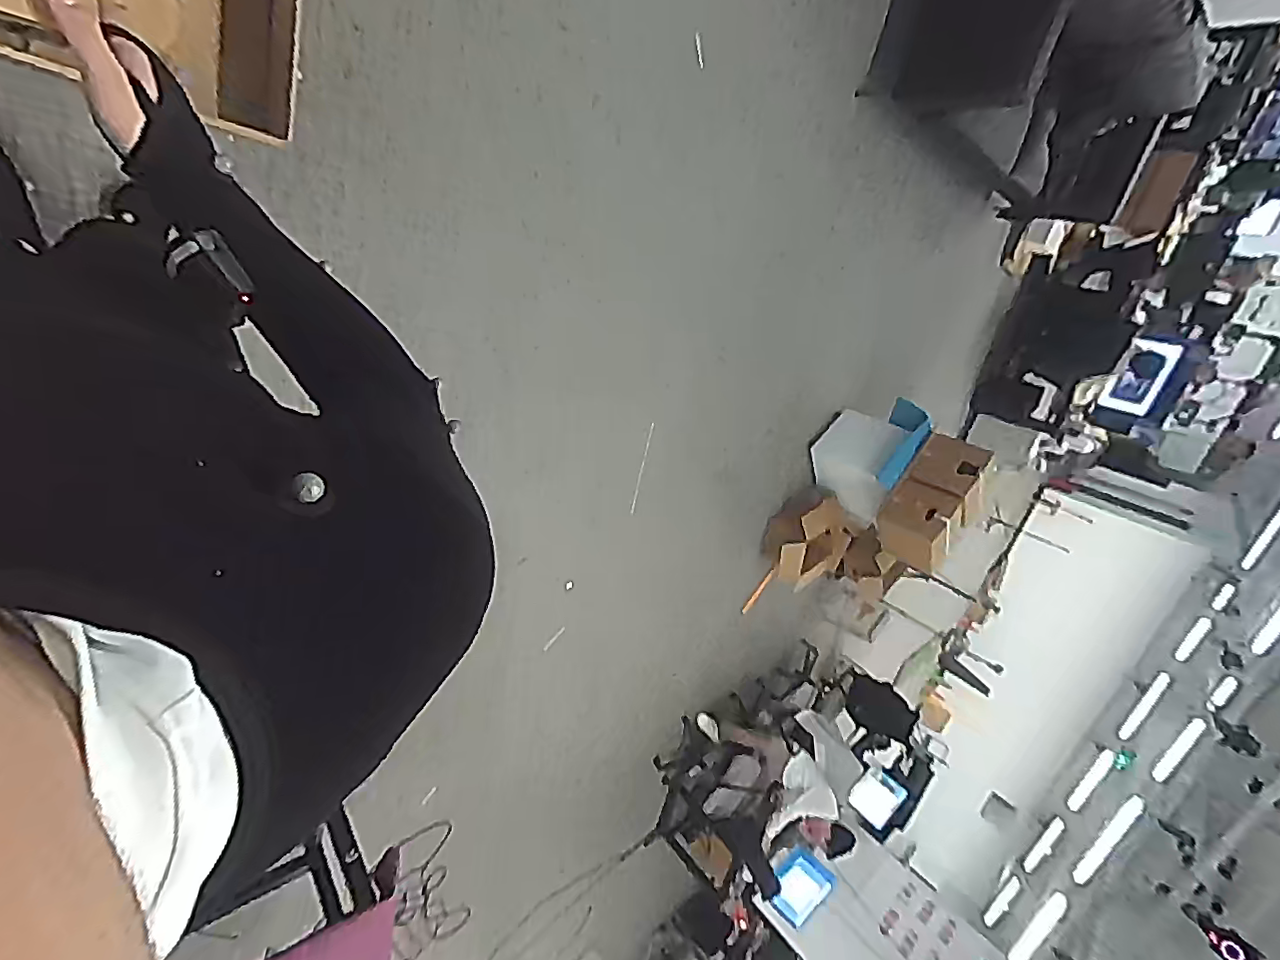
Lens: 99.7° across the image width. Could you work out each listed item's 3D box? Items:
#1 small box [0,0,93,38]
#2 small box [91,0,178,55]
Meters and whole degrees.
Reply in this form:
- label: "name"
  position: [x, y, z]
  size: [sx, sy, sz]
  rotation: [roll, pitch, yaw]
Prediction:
- label: "small box"
  position: [-0.485, -0.428, 0.355]
  size: [0.168, 0.176, 0.179]
  rotation: [-8, 122, -44]
- label: "small box"
  position: [-0.665, -0.651, 0.648]
  size: [0.168, 0.176, 0.179]
  rotation: [-2, 114, -45]
